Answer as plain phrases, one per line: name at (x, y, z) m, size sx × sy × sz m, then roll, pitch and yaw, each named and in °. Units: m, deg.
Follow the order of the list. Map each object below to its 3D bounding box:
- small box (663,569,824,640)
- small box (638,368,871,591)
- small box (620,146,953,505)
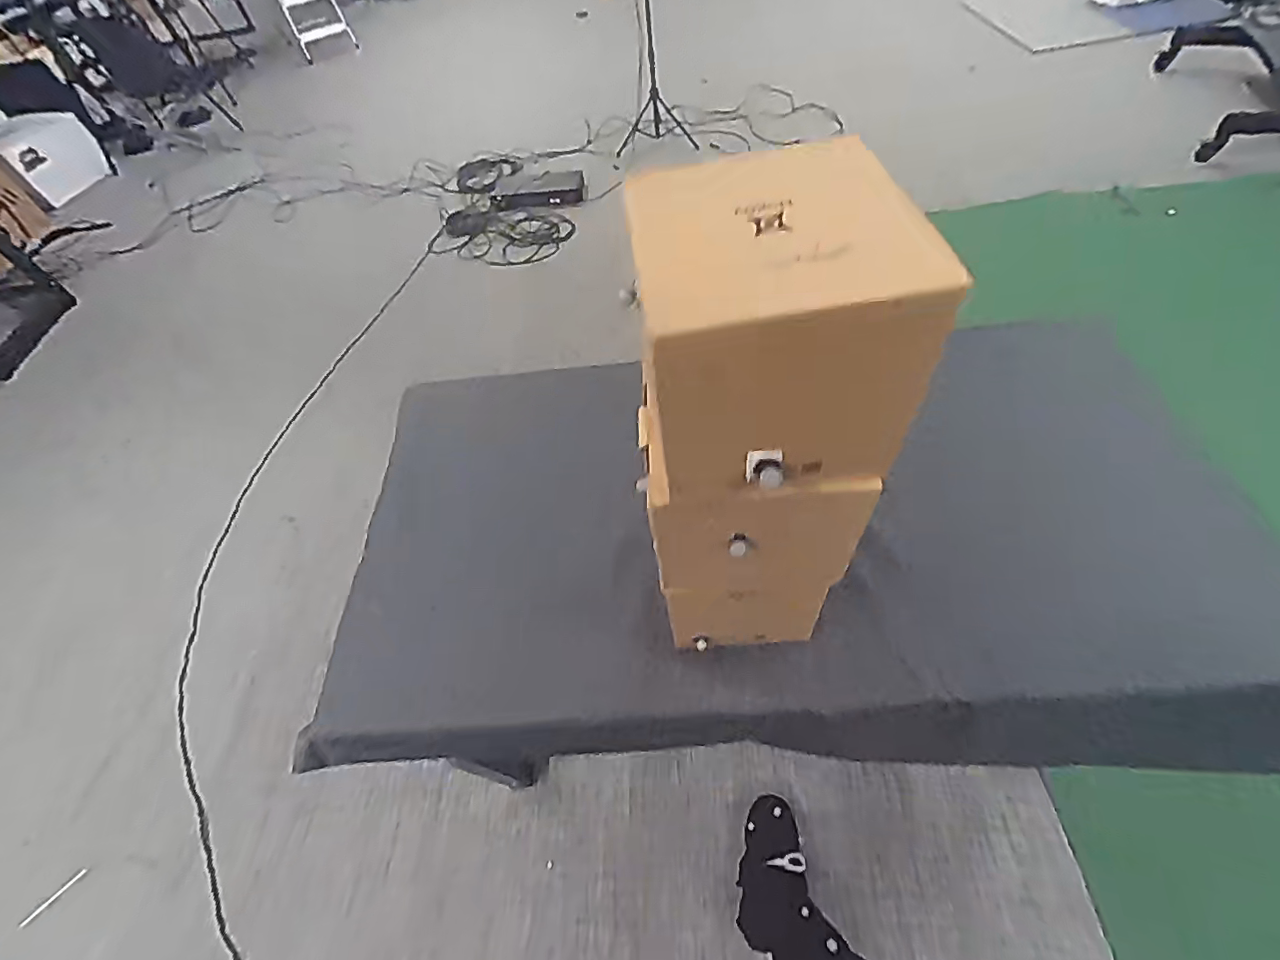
small box at (0.115, 0.085, 0.658) m, size 0.168 × 0.176 × 0.179 m, roll -5°, pitch 52°, yaw 5°
small box at (0.099, -0.005, 0.526) m, size 0.179 × 0.176 × 0.168 m, roll -7°, pitch 52°, yaw 3°
small box at (0.083, -0.106, 0.396) m, size 0.168 × 0.176 × 0.179 m, roll -10°, pitch 54°, yaw 2°
